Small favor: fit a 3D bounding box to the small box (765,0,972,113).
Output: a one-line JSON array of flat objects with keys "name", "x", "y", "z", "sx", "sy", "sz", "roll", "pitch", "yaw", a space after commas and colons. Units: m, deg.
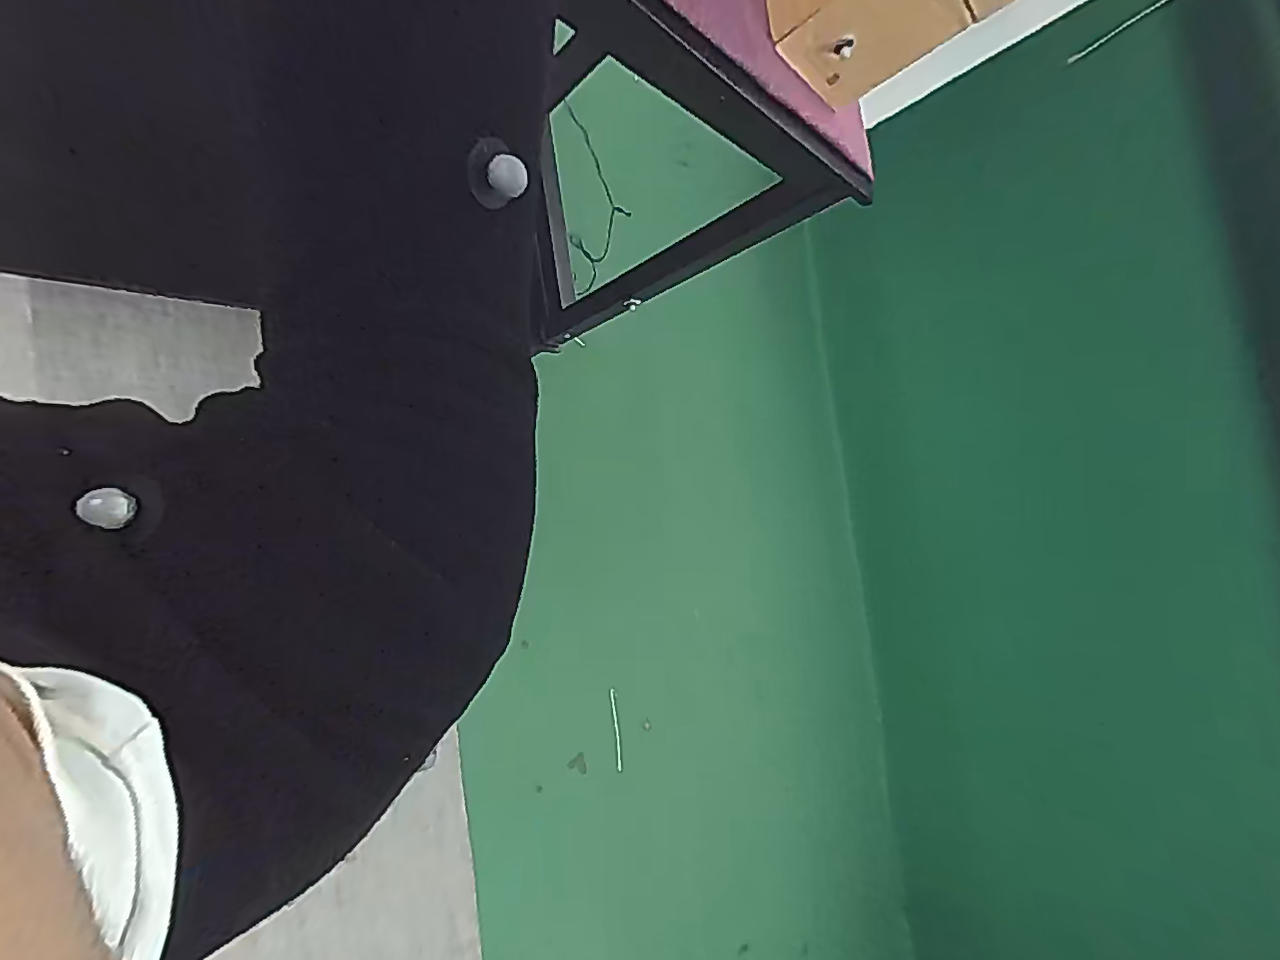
[{"name": "small box", "x": 0.248, "y": -0.573, "z": 0.609, "sx": 0.168, "sy": 0.176, "sz": 0.179, "roll": -3, "pitch": 85, "yaw": -46}]
